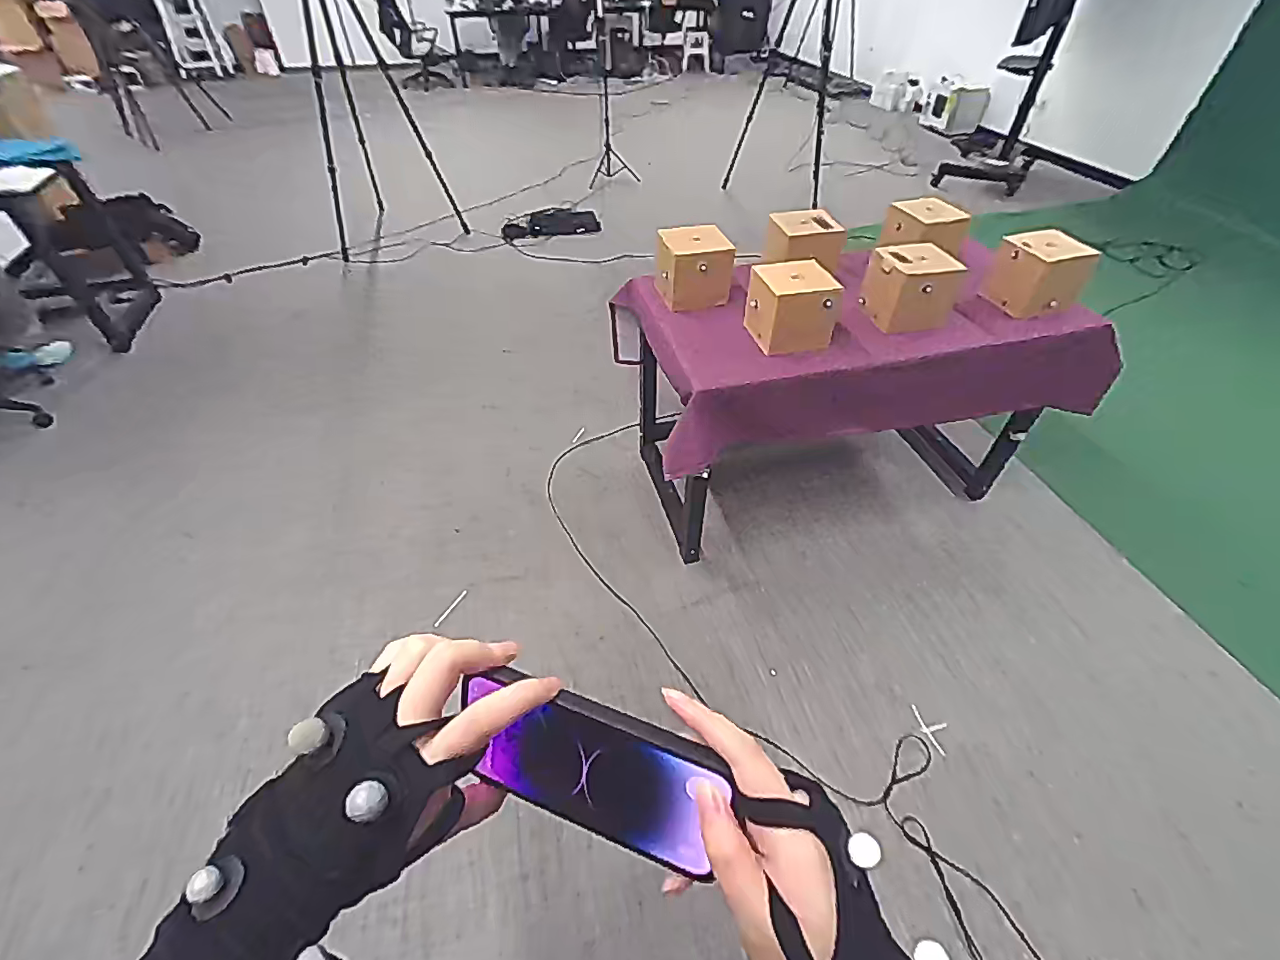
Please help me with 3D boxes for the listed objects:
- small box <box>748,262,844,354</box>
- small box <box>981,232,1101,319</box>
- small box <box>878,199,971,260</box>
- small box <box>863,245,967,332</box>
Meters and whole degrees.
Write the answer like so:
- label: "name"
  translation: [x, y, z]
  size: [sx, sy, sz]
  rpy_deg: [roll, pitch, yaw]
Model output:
- label: "small box"
  translation: [0.387, -0.439, 1.385]
  size: [0.179, 0.176, 0.168]
  rpy_deg: [-9, 46, -10]
- label: "small box"
  translation: [1.107, -0.570, 1.510]
  size: [0.179, 0.176, 0.168]
  rpy_deg: [-11, 47, -11]
- label: "small box"
  translation: [0.875, -0.754, 1.687]
  size: [0.168, 0.176, 0.179]
  rpy_deg: [-13, 48, -11]
- label: "small box"
  translation: [0.725, -0.513, 1.457]
  size: [0.179, 0.176, 0.168]
  rpy_deg: [-8, 47, -9]
